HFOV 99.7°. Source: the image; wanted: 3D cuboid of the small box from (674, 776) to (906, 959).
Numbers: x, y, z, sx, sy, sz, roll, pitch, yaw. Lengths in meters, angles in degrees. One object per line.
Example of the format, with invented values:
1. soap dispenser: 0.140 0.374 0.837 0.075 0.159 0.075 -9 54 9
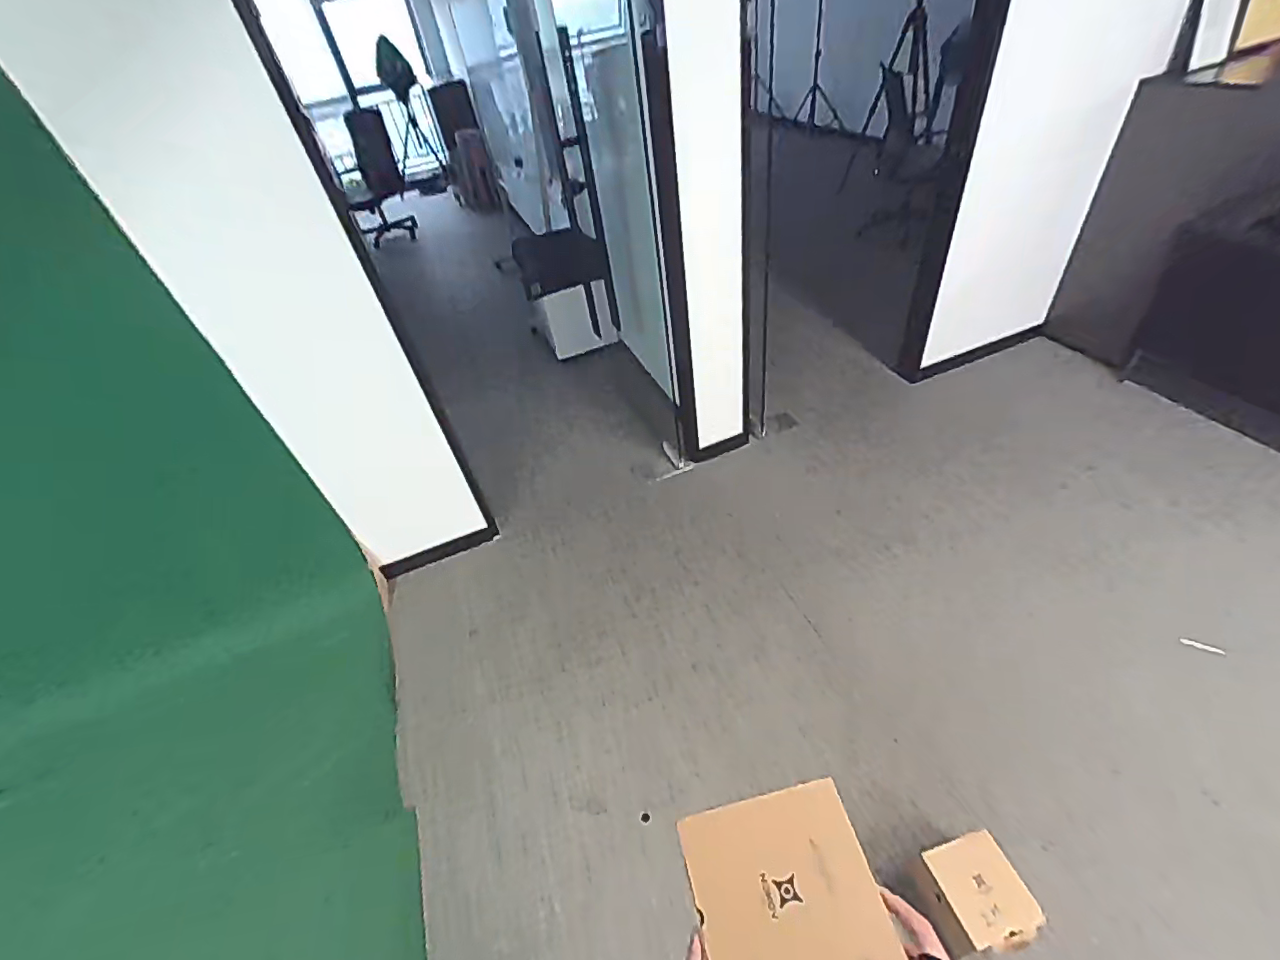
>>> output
1. small box: 0.145 0.443 0.570 0.179 0.176 0.168 -13 47 -3

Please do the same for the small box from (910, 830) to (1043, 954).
1. small box: 0.727 0.912 1.196 0.168 0.176 0.179 -13 44 0
